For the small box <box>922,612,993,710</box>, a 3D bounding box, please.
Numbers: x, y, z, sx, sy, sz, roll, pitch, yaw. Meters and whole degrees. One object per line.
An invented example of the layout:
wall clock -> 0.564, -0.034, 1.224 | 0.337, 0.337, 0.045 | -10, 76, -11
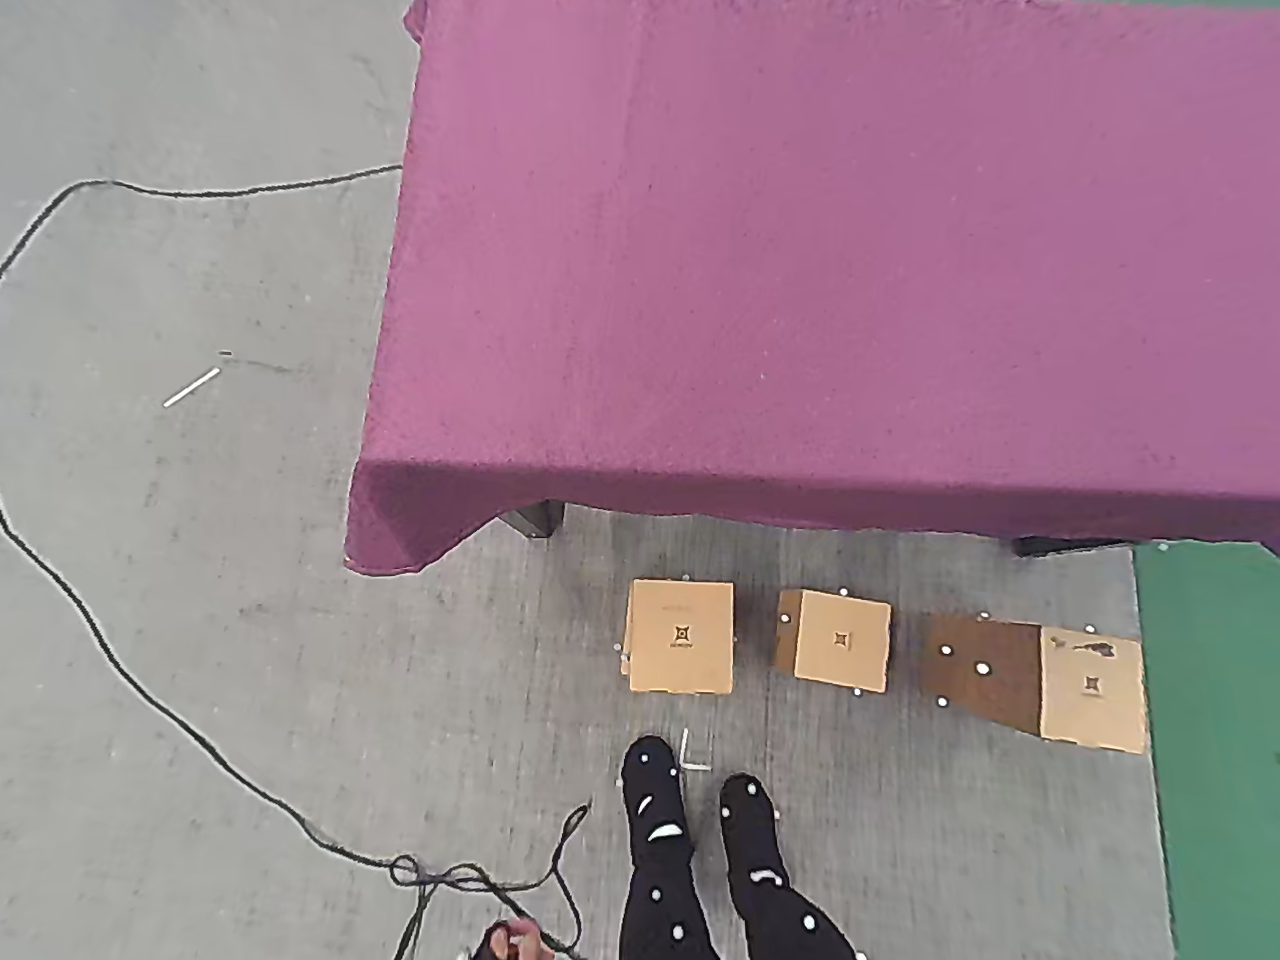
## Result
small box -> 0.702, 0.375, 1.103 | 0.168, 0.176, 0.179 | 14, 77, 2

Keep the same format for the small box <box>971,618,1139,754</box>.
small box -> 0.709, 0.345, 0.939 | 0.168, 0.176, 0.179 | 11, 79, -1
